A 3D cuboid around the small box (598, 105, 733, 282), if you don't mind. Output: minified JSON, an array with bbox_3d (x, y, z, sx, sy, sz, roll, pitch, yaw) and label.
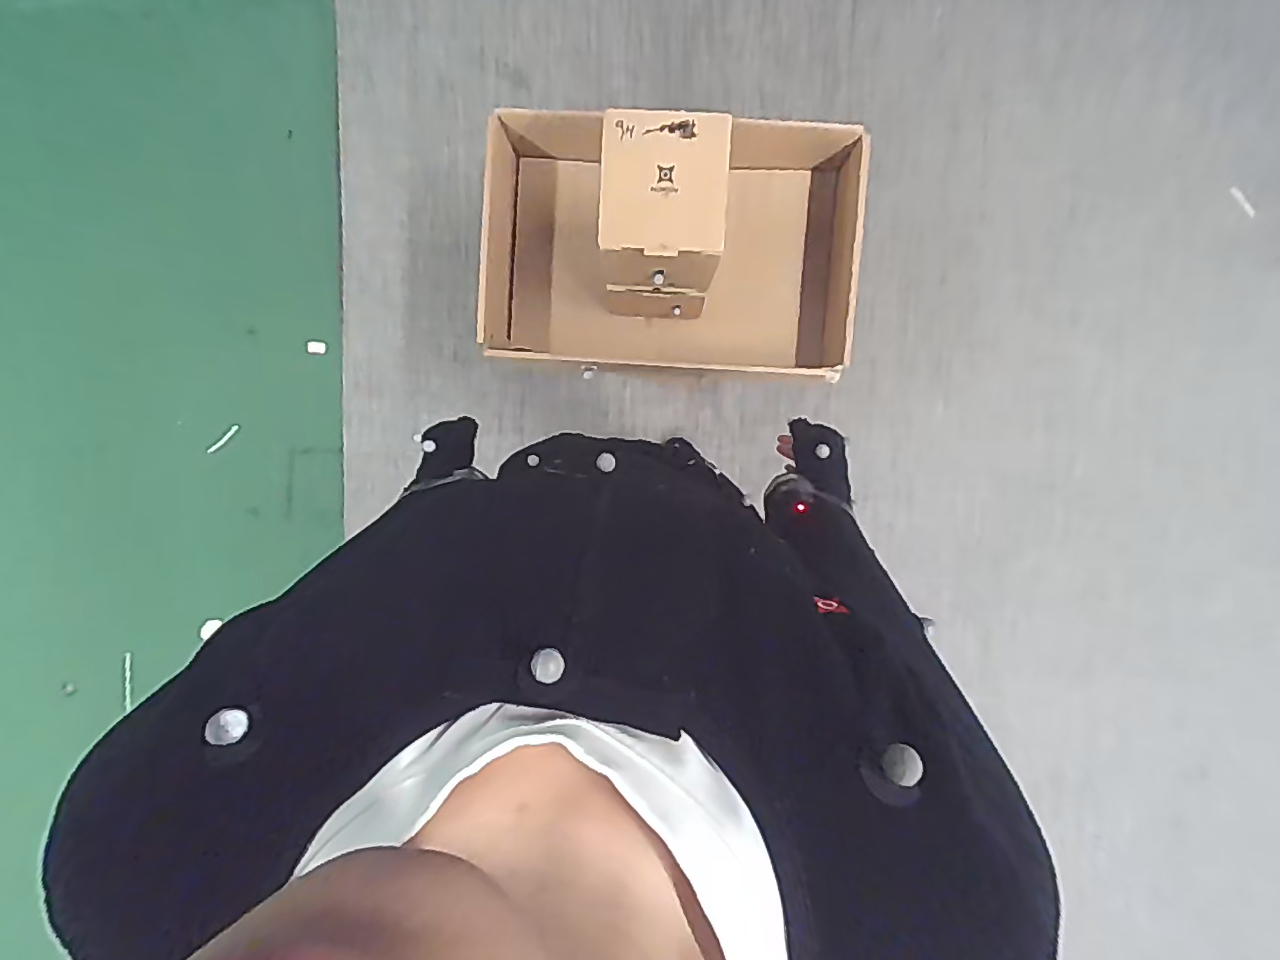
[{"bbox_3d":[0.034,-0.394,0.773,0.168,0.176,0.179,3,95,0],"label":"small box"}]

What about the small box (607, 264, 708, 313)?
[{"bbox_3d":[0.035,-0.397,0.937,0.168,0.176,0.179,3,93,0],"label":"small box"}]
